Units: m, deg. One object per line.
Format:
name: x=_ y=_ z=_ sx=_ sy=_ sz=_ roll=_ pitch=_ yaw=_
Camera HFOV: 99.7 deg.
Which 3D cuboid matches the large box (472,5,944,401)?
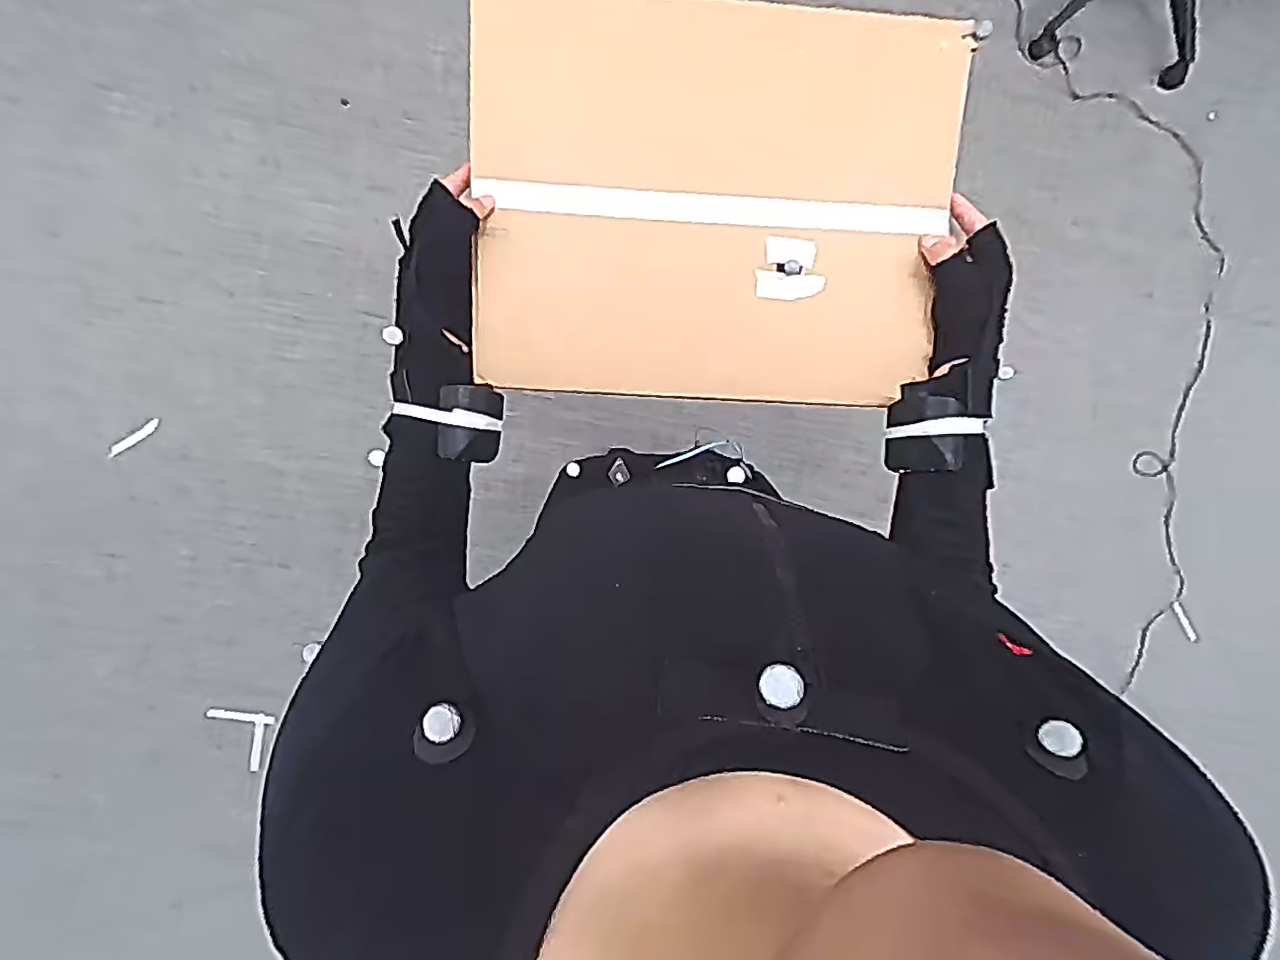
large box: x=0.047 y=-0.255 z=0.619 sx=0.408 sy=0.320 sz=0.320 roll=2 pitch=101 yaw=-4
